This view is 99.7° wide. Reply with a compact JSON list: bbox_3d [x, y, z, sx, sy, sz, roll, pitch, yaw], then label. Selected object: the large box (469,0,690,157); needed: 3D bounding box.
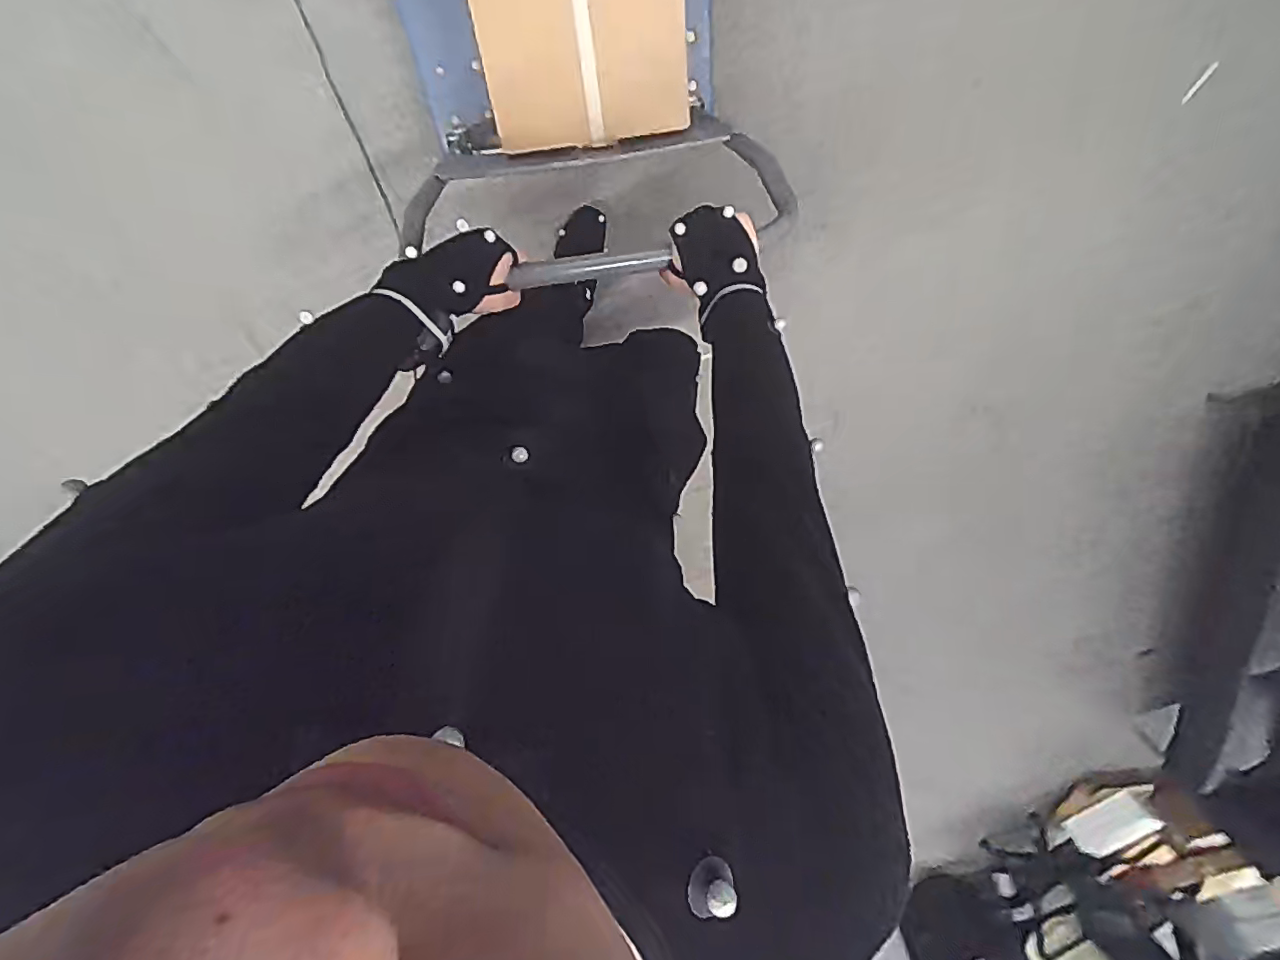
[{"bbox_3d":[-0.109,-0.801,0.895,0.320,0.320,0.408,-10,127,-1],"label":"large box"}]
